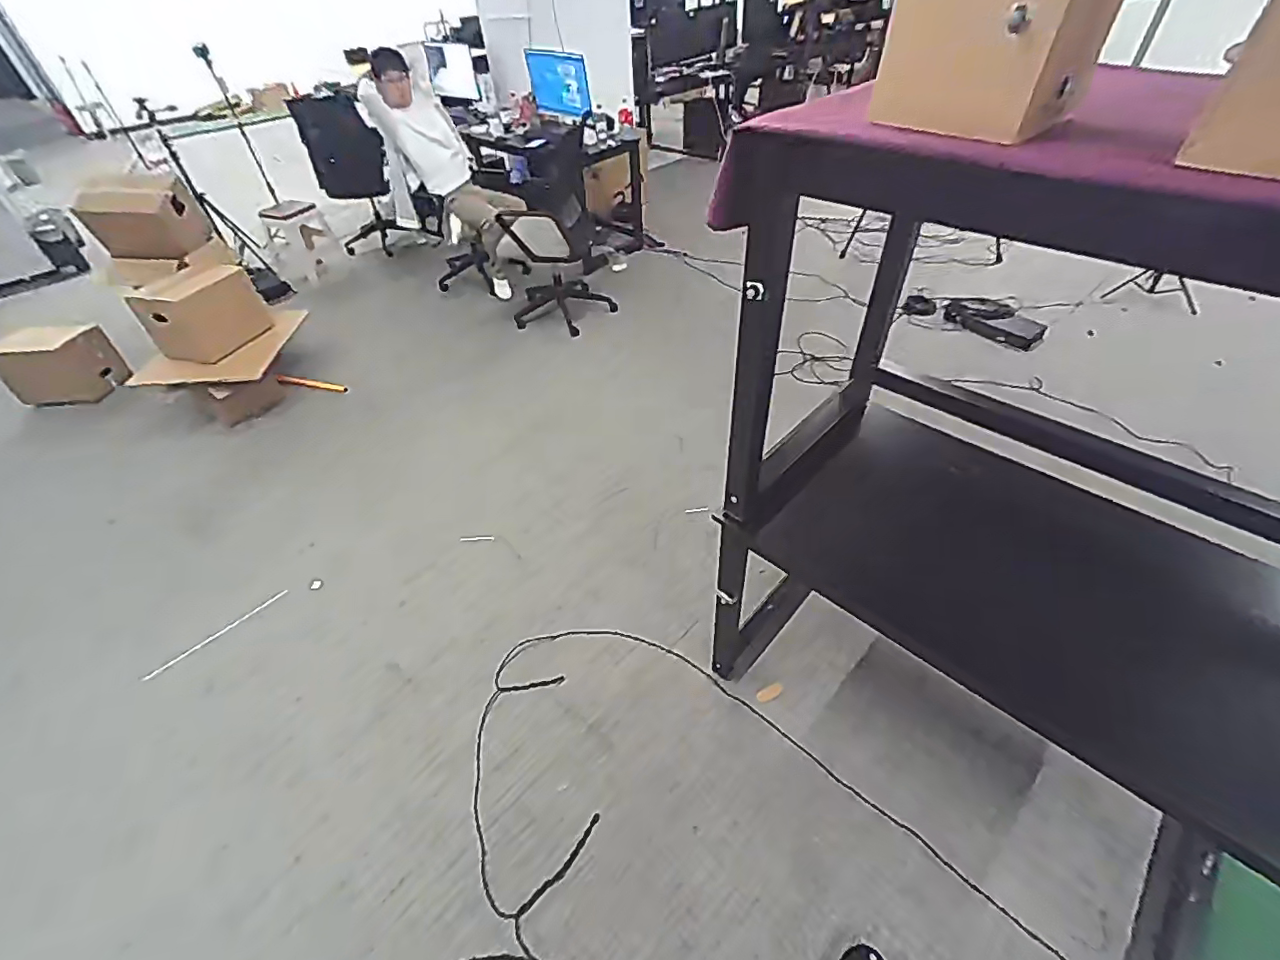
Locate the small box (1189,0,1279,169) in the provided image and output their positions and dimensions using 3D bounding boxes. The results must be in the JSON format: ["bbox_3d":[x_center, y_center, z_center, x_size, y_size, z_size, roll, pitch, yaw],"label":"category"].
[{"bbox_3d":[0.603,-0.348,0.427,0.168,0.176,0.179,-34,50,-27],"label":"small box"}]
